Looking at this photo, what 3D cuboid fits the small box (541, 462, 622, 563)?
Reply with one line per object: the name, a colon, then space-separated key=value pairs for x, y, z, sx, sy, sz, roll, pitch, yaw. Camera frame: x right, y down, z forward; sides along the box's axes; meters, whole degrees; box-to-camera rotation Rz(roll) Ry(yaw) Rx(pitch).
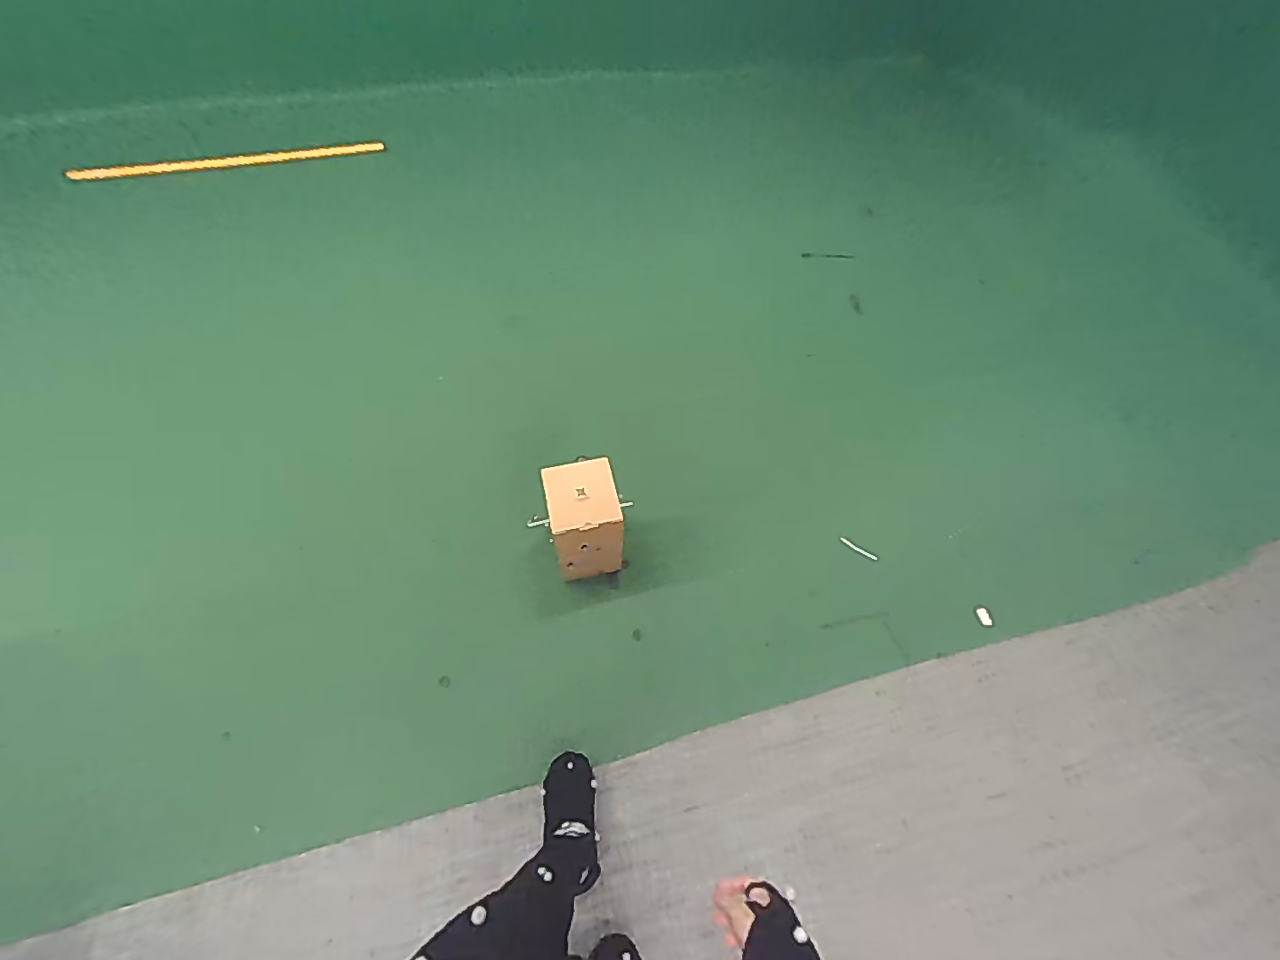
small box: x=-0.145 y=0.082 z=1.326 sx=0.168 sy=0.176 sz=0.179 roll=-11 pitch=61 yaw=-10
